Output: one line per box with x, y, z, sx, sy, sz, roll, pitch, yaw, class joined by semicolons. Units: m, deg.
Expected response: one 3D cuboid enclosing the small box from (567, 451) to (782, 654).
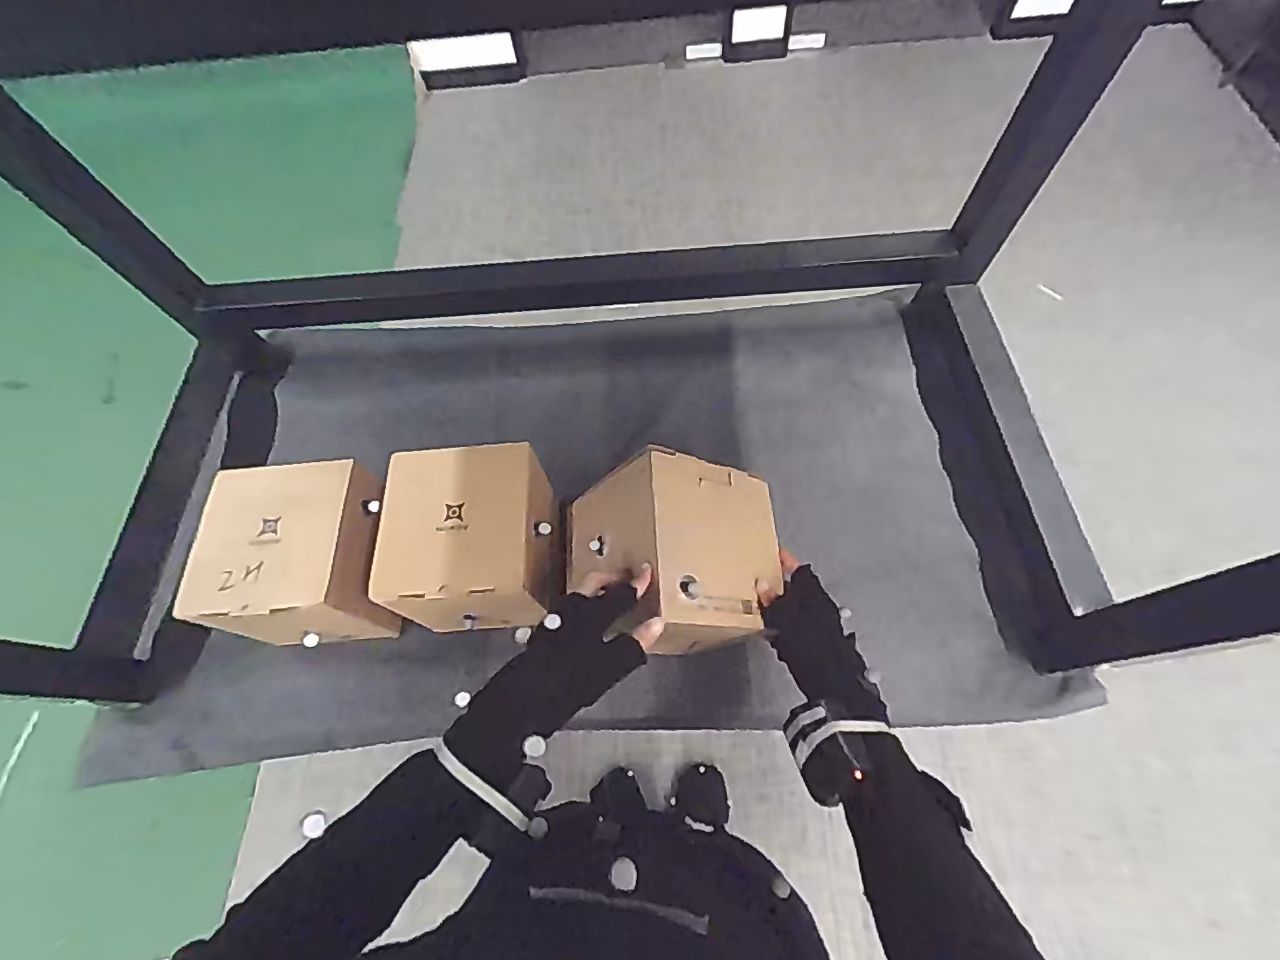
0.032;0.093;0.596;0.168;0.179;0.176;15;58;-33;small box

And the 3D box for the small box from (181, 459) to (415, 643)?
-0.399;0.094;0.671;0.168;0.176;0.179;-5;63;2;small box
